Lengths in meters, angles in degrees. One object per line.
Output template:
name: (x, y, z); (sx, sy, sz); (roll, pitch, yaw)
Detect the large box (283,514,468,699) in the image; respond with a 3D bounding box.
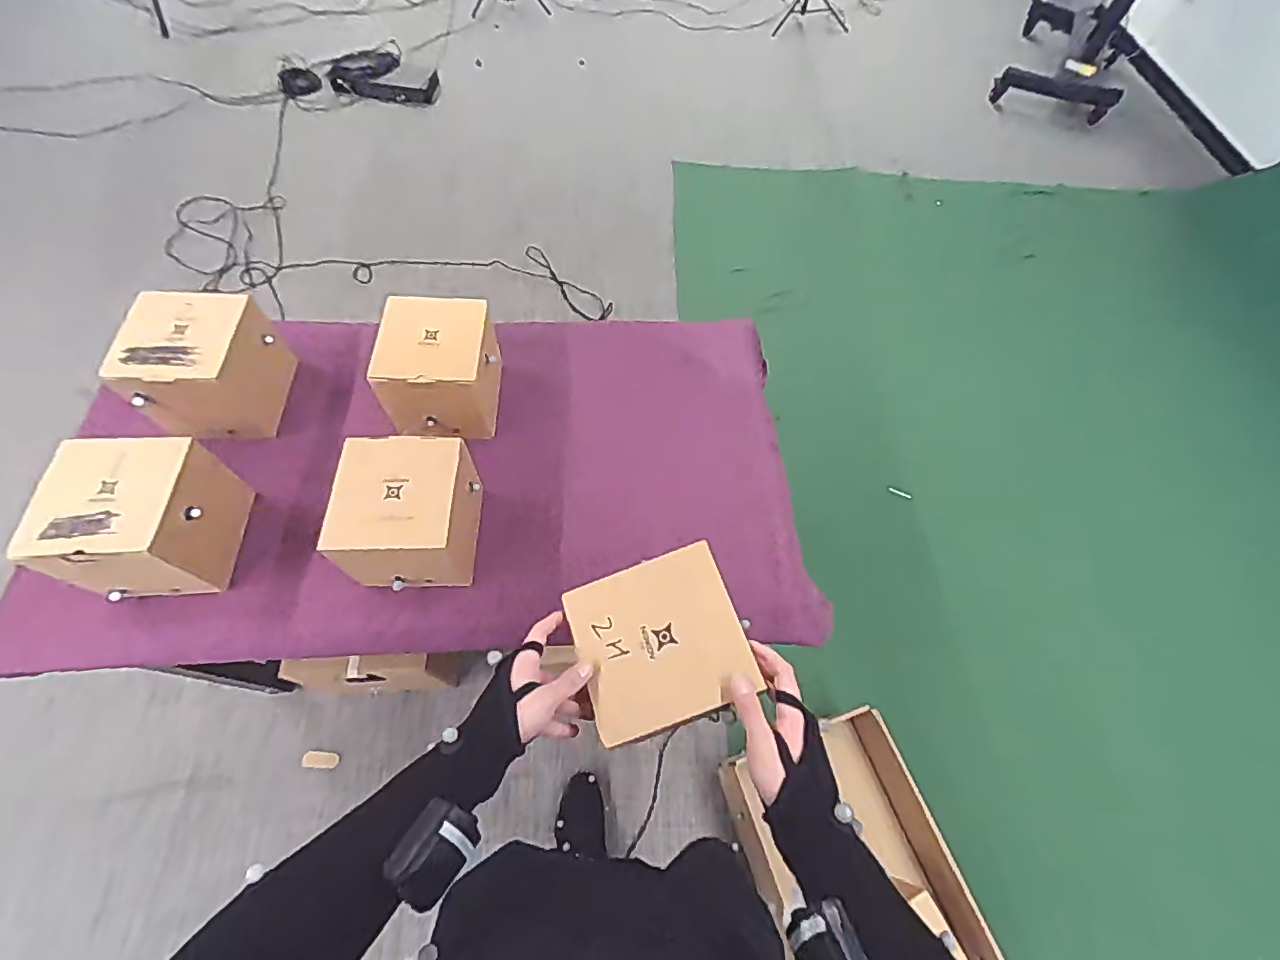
large box: (-0.638, 0.325, 1.391); (0.320, 0.320, 0.408); (-1, 61, -5)

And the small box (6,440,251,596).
small box: (-0.702, 0.061, 0.773); (0.168, 0.176, 0.179); (-1, 61, -6)

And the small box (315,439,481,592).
small box: (-0.341, 0.057, 0.805); (0.168, 0.176, 0.179); (0, 61, -3)

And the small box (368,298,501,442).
small box: (-0.340, -0.186, 0.935); (0.168, 0.176, 0.179); (1, 63, -4)

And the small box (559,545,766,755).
small box: (0.029, 0.198, 0.624); (0.179, 0.176, 0.168); (-22, 63, 2)
